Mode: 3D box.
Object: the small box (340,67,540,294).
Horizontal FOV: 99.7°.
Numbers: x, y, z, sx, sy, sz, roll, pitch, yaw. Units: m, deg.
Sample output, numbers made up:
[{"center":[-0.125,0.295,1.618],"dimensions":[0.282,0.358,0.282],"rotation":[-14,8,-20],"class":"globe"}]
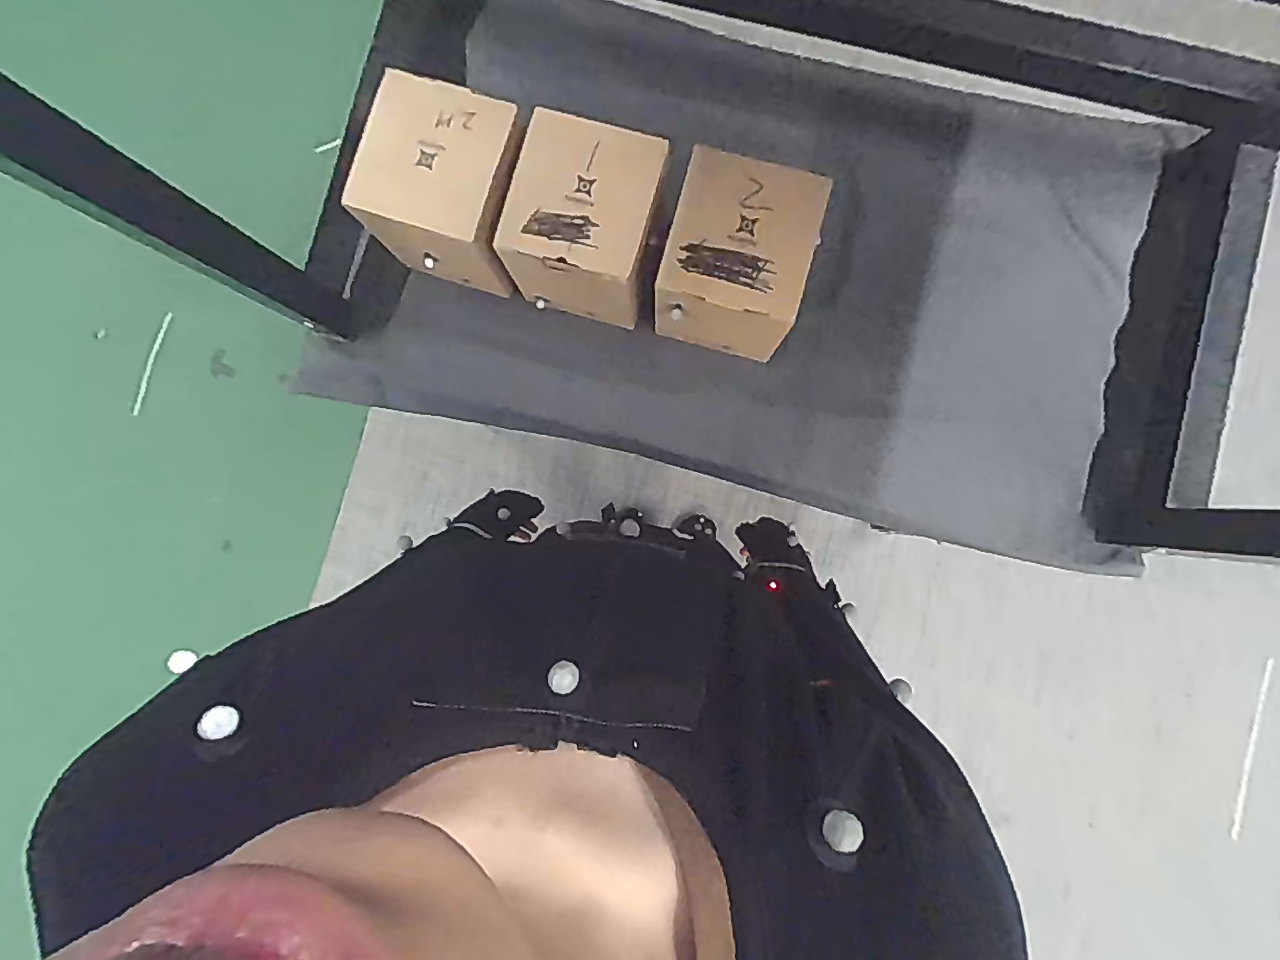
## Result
[{"center":[-0.241,-0.369,0.700],"dimensions":[0.168,0.176,0.179],"rotation":[18,88,1],"class":"small box"}]
